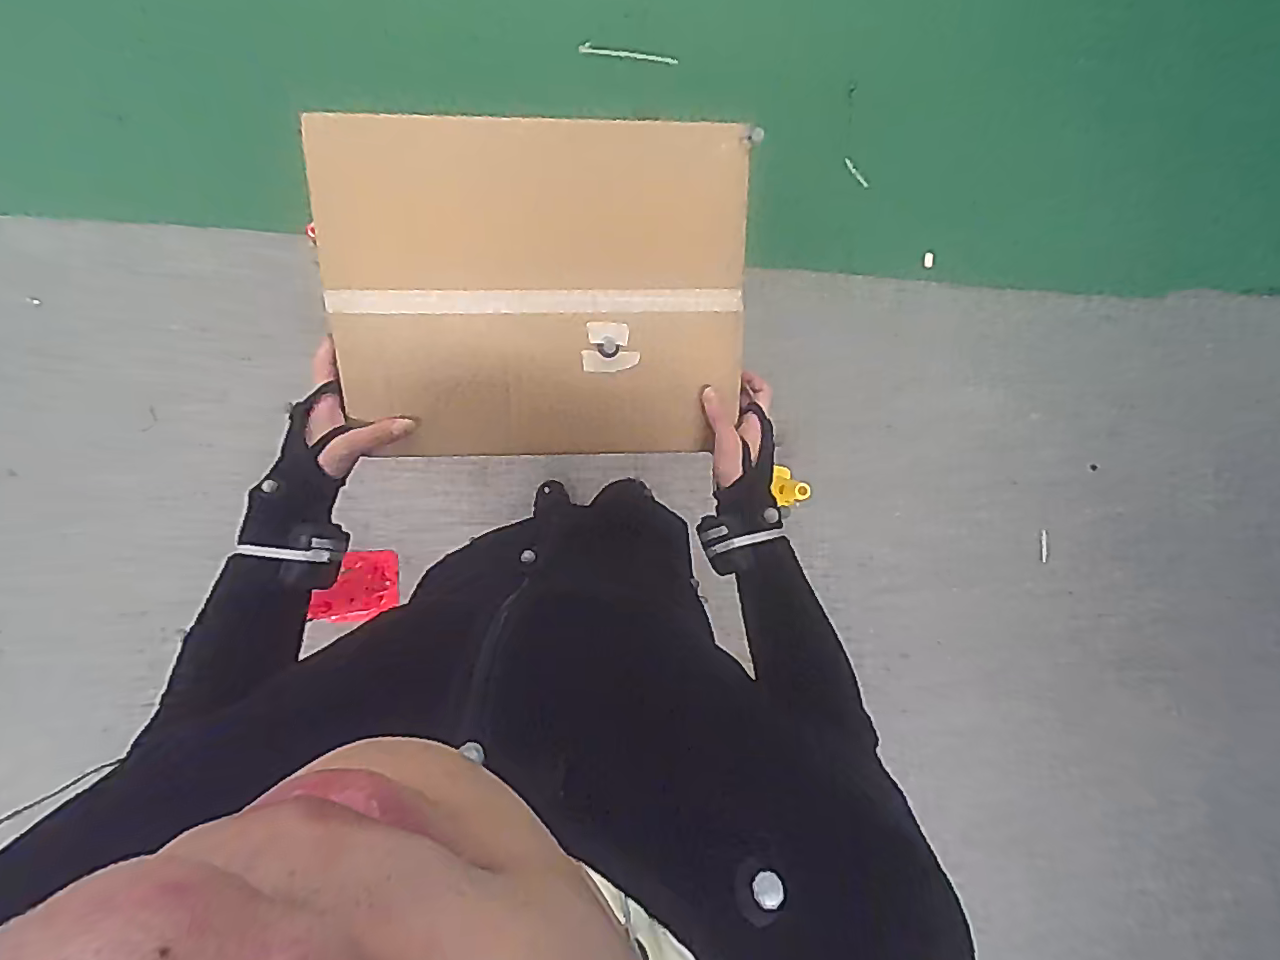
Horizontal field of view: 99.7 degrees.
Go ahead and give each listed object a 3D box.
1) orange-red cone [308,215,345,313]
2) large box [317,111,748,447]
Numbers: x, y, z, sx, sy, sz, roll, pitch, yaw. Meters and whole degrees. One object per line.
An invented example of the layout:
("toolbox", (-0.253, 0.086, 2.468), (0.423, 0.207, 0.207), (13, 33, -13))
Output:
("orange-red cone", (-0.757, -0.574, 1.401), (0.199, 0.360, 0.198), (9, 86, -5))
("large box", (-0.106, -0.229, 0.682), (0.408, 0.320, 0.320), (-1, 107, -5))
